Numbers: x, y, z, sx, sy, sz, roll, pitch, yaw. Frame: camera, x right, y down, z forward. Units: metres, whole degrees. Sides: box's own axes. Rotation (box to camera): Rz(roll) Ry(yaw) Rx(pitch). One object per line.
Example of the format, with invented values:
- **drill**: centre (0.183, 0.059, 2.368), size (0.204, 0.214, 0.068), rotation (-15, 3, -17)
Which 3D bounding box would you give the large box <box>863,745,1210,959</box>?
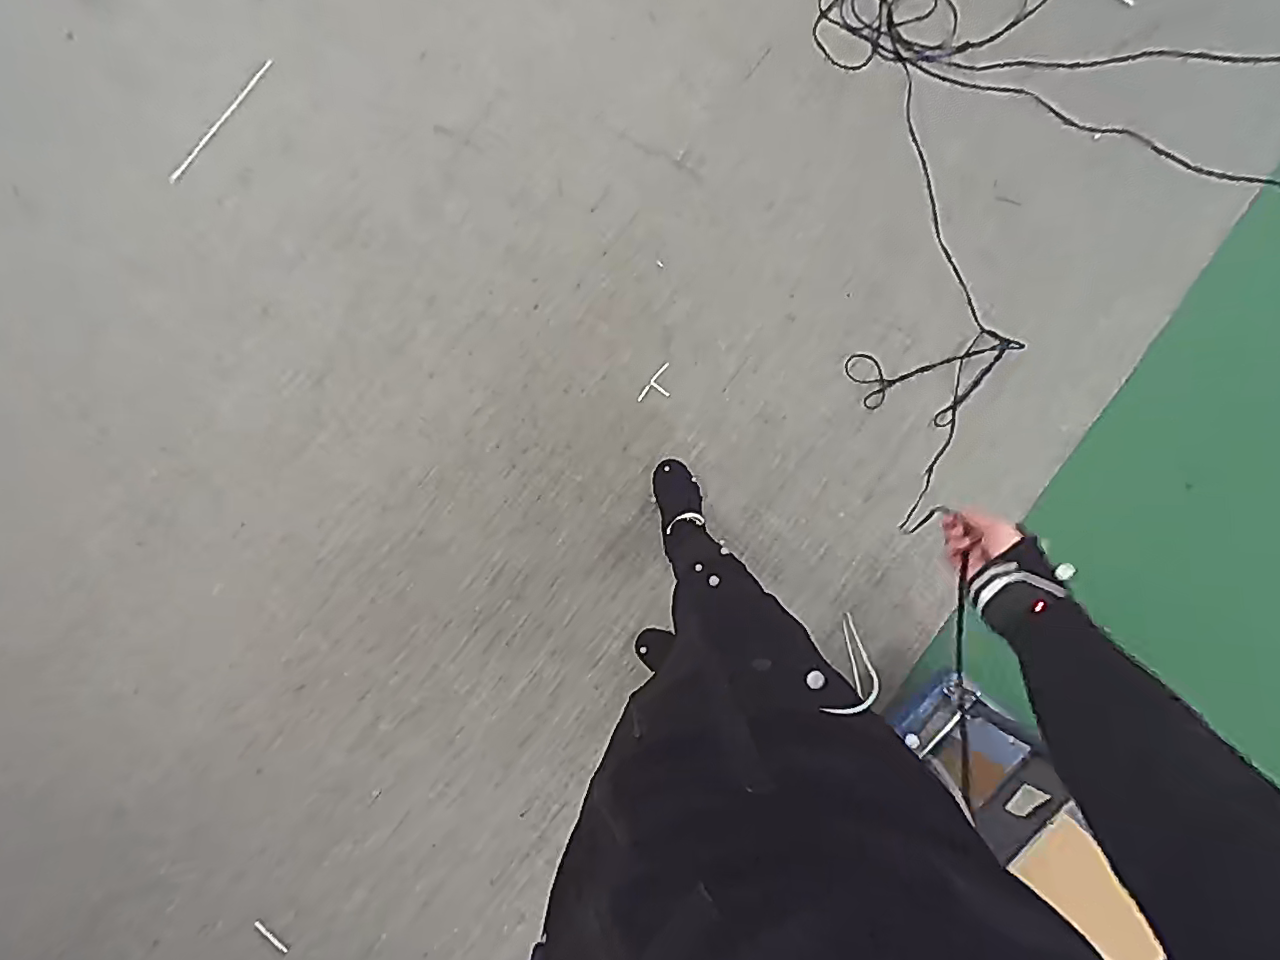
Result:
- **large box**: centre (0.724, 0.809, 1.028), size (0.320, 0.320, 0.408), rotation (-44, 85, -2)
